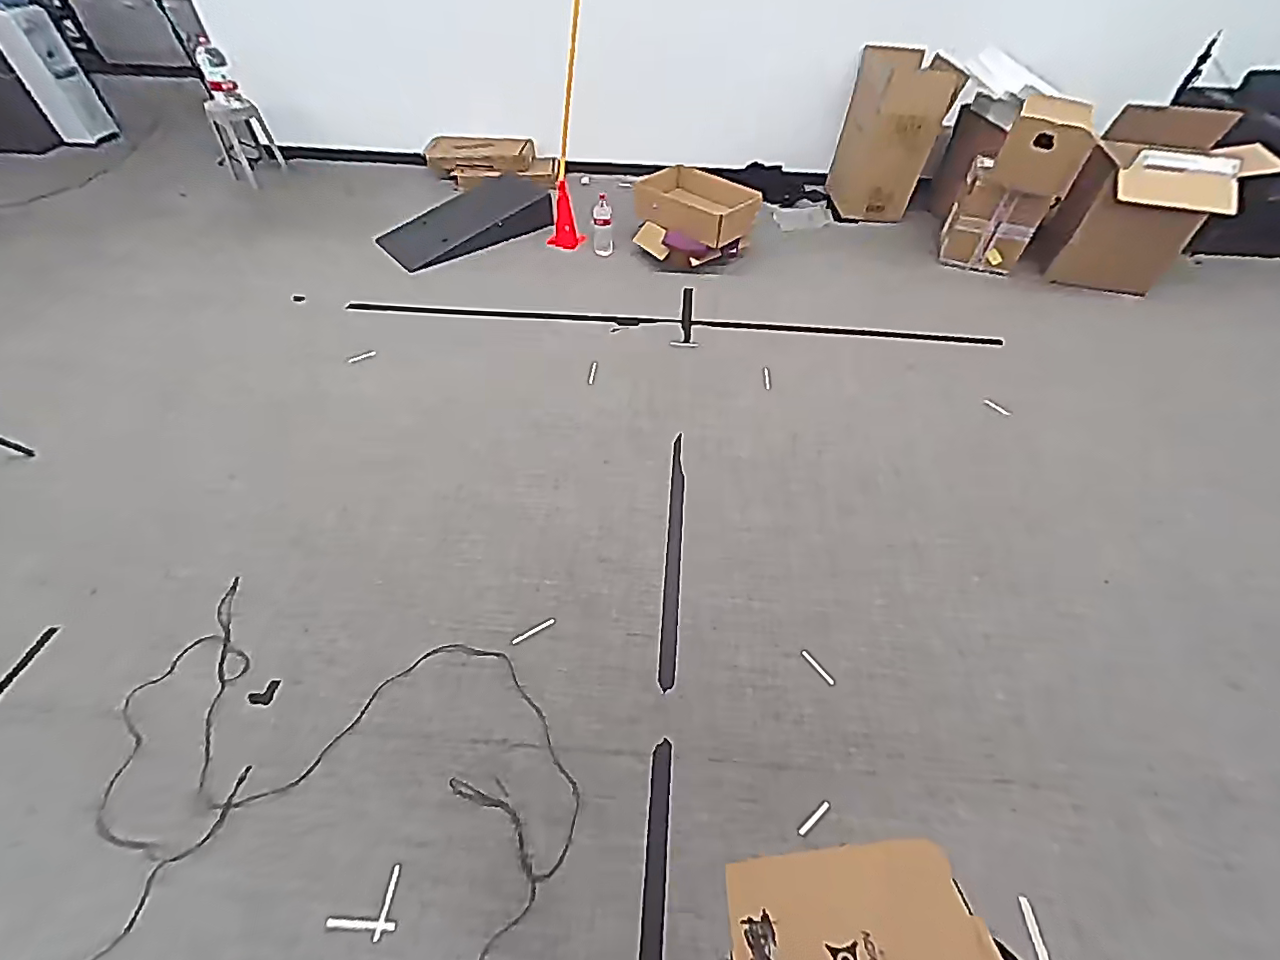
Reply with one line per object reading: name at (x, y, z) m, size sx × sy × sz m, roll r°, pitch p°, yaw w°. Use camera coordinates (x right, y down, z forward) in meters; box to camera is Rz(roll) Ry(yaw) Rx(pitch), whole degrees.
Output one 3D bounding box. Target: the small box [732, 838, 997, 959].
small box at (0.175, 0.413, 0.405) m, size 0.179 × 0.176 × 0.168 m, roll -11°, pitch 15°, yaw 6°
